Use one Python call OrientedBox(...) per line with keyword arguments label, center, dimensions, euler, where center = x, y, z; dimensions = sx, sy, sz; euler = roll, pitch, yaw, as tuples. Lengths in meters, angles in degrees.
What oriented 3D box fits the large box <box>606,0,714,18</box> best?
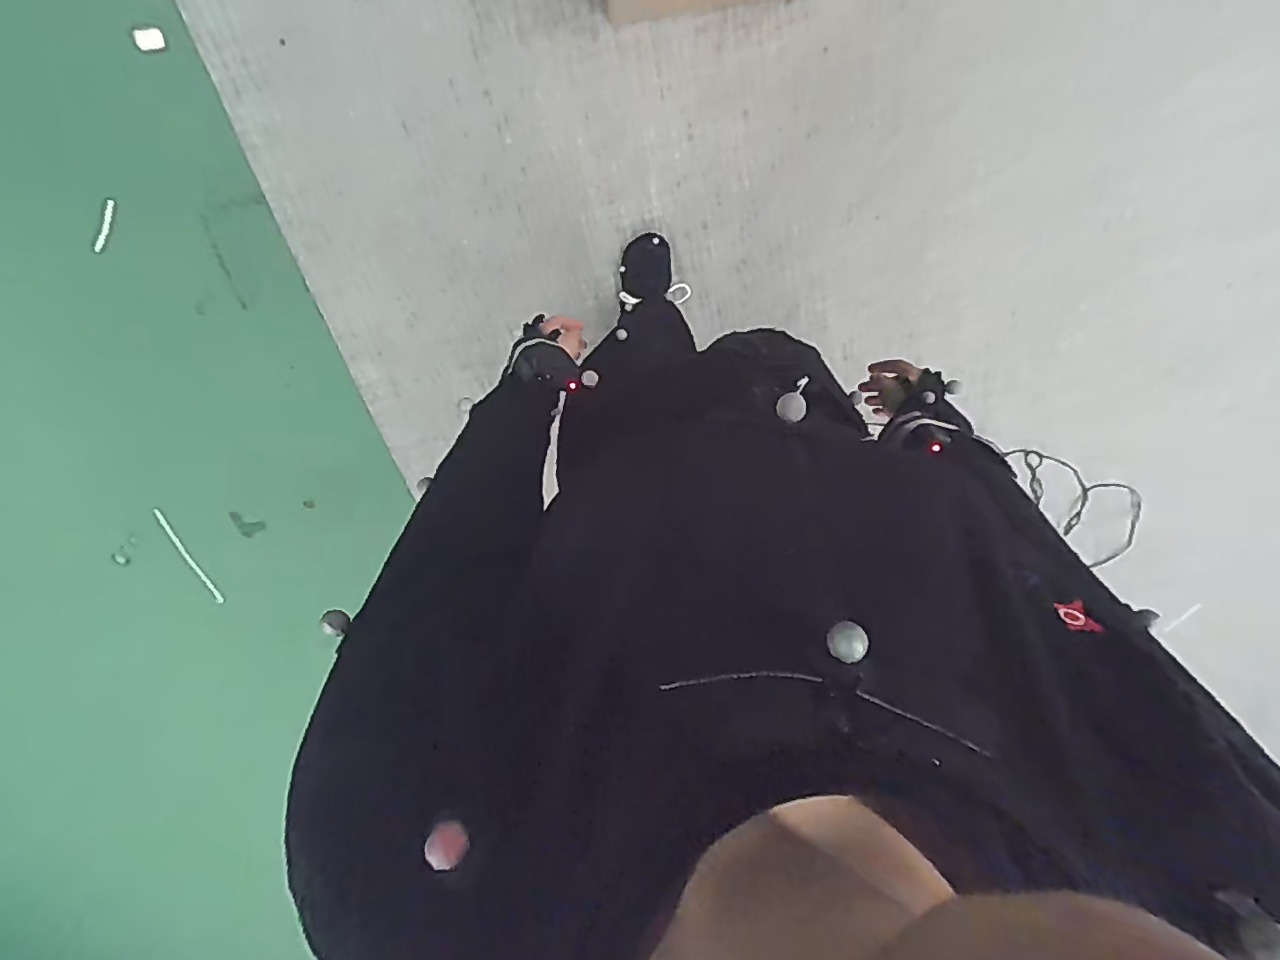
OrientedBox(label="large box", center=(0.123, -0.952, 0.797), dimensions=(0.408, 0.320, 0.320), euler=(-10, 118, 0))
